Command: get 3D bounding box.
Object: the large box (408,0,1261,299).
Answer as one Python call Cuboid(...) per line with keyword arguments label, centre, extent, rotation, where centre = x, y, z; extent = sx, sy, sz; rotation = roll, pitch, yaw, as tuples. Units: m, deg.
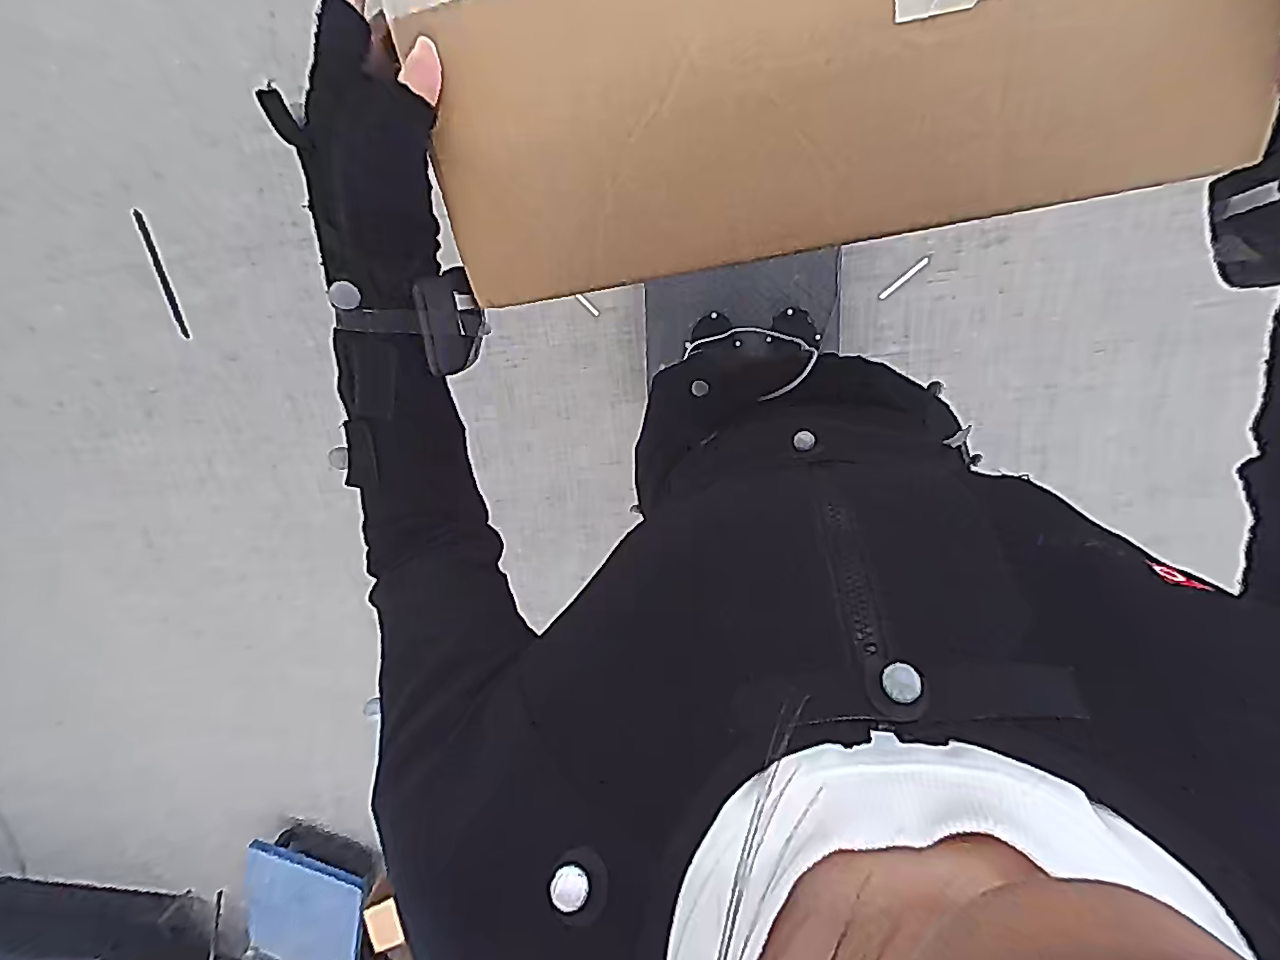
Cuboid(label="large box", centre=(0.086, -0.341, 0.377), extent=(0.408, 0.320, 0.320), rotation=(-7, 116, 11))
